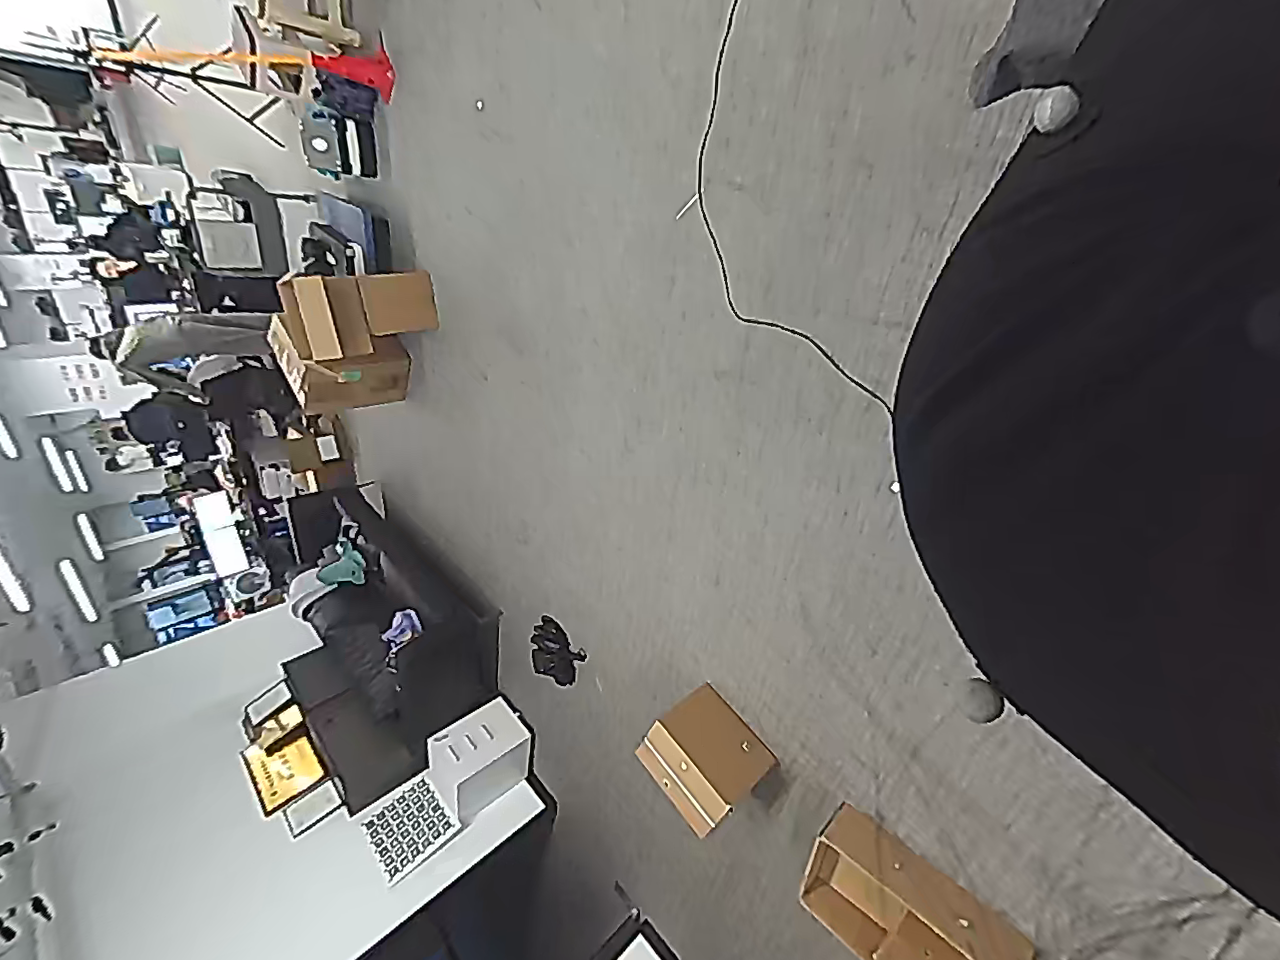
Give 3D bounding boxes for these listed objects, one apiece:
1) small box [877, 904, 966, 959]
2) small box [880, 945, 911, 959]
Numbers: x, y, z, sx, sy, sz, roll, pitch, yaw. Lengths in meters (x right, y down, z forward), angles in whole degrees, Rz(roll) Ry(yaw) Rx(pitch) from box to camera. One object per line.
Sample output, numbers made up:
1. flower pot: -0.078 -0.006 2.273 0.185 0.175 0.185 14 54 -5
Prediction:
1. small box: 0.895 1.515 1.715 0.179 0.176 0.168 35 128 37
2. small box: 0.777 1.558 1.608 0.179 0.176 0.168 34 127 37
